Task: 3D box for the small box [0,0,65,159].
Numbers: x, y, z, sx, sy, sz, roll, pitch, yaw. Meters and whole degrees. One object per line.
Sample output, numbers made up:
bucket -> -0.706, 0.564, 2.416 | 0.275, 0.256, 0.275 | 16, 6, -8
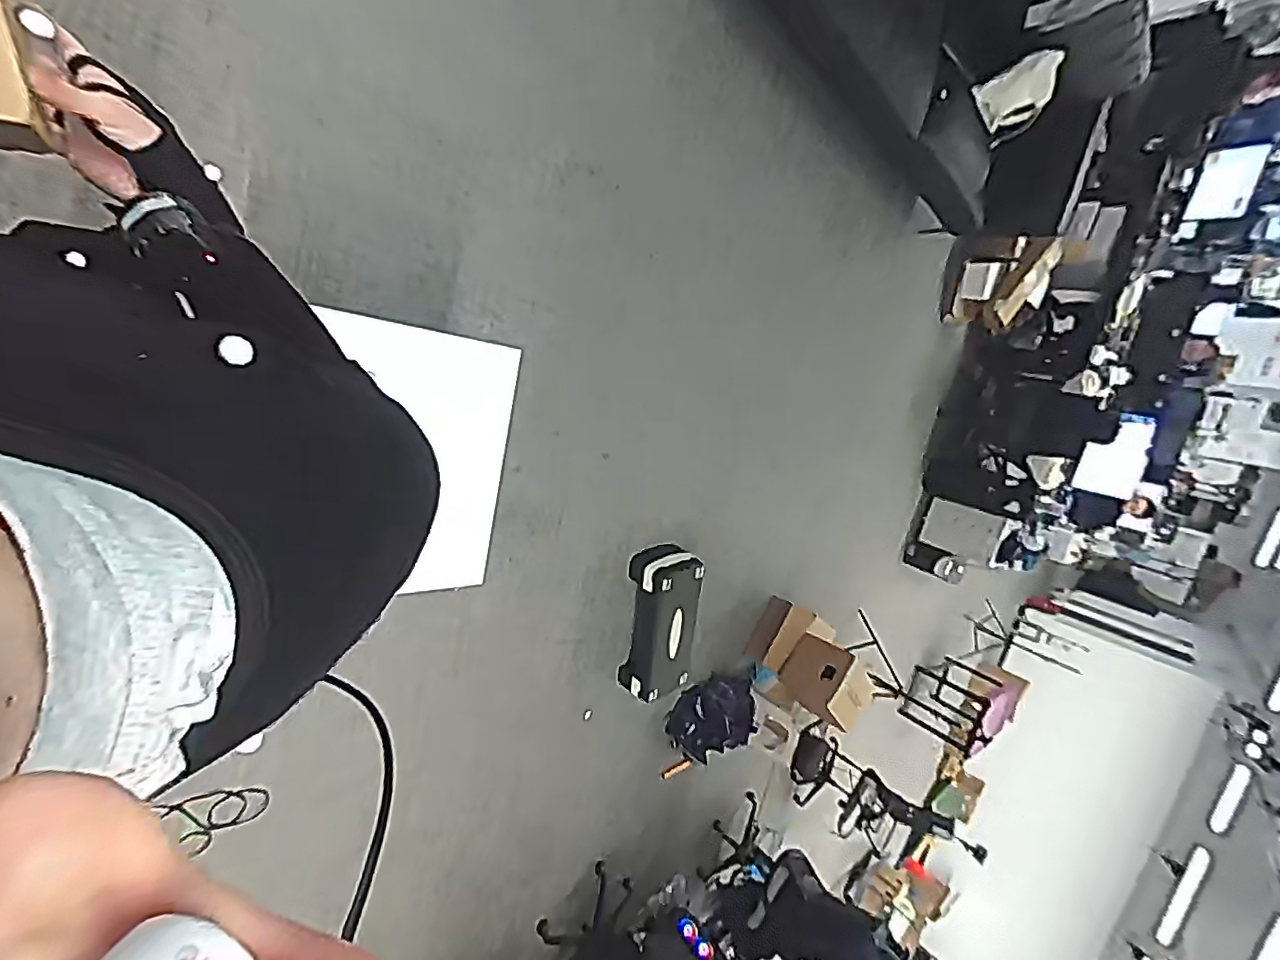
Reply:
small box -> -0.499, -0.320, 0.335 | 0.168, 0.176, 0.179 | -15, 118, -40
